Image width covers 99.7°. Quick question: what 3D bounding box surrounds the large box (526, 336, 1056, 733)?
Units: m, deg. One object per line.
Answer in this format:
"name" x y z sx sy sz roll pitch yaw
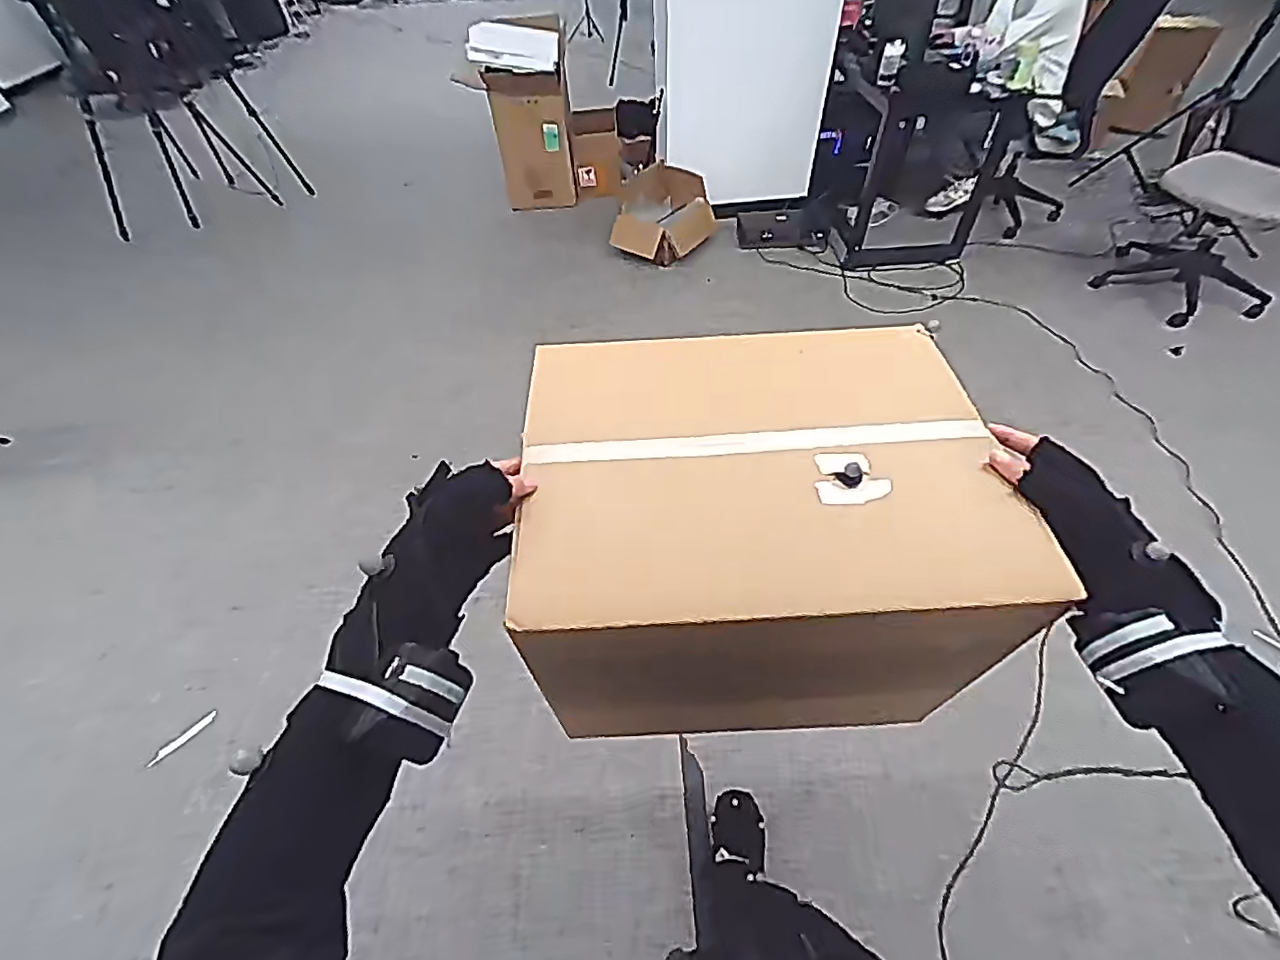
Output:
"large box" 0.106 0.068 0.603 0.408 0.320 0.320 -3 52 -1
